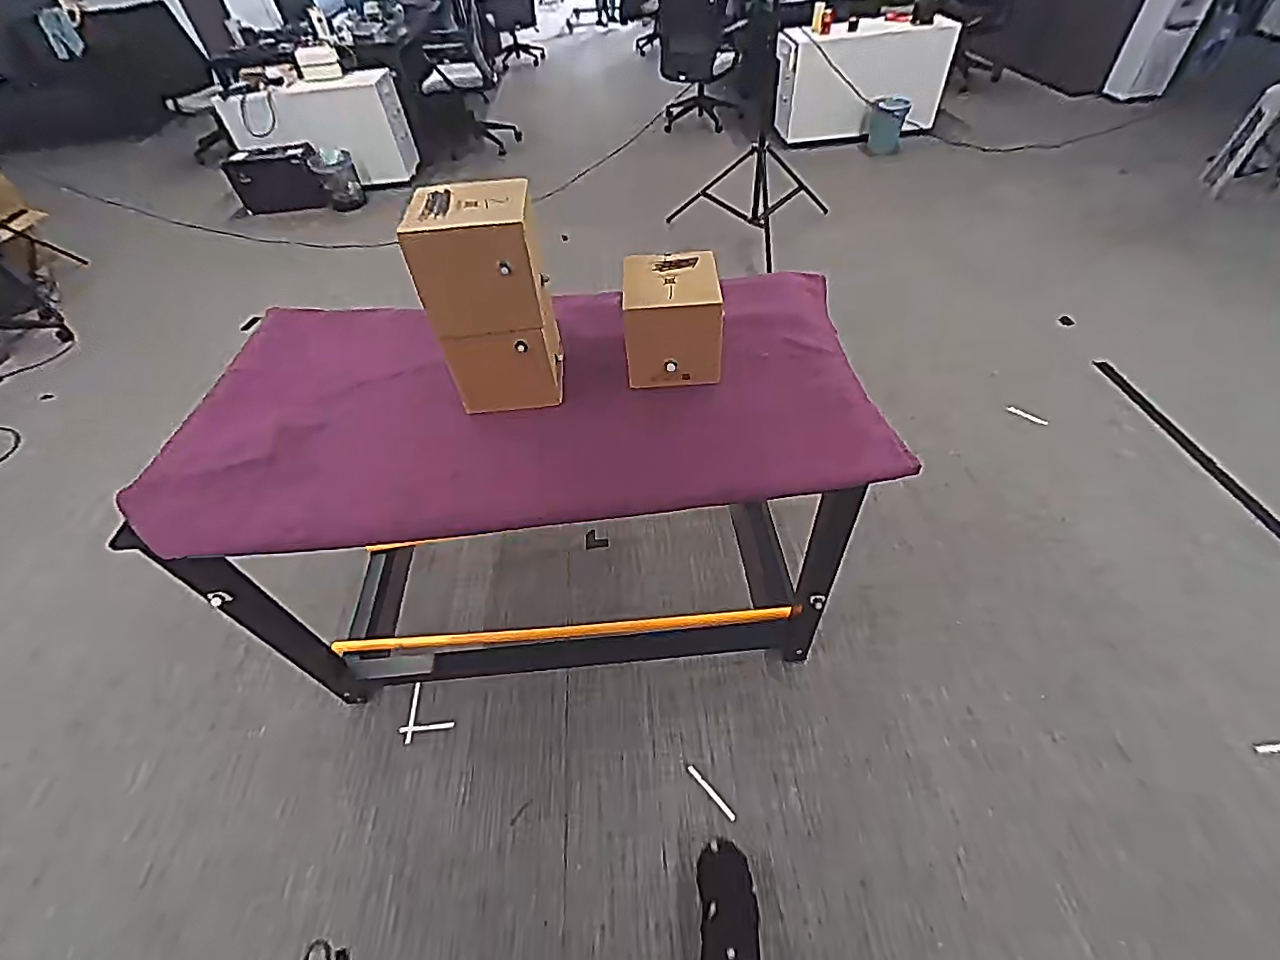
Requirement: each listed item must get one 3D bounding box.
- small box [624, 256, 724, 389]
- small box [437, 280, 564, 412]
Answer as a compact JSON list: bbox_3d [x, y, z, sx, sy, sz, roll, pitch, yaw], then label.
[{"bbox_3d":[0.059,-0.287,0.990,0.168,0.176,0.179,-3,49,3],"label":"small box"},{"bbox_3d":[-0.239,-0.237,0.975,0.179,0.176,0.168,-5,48,0],"label":"small box"}]
